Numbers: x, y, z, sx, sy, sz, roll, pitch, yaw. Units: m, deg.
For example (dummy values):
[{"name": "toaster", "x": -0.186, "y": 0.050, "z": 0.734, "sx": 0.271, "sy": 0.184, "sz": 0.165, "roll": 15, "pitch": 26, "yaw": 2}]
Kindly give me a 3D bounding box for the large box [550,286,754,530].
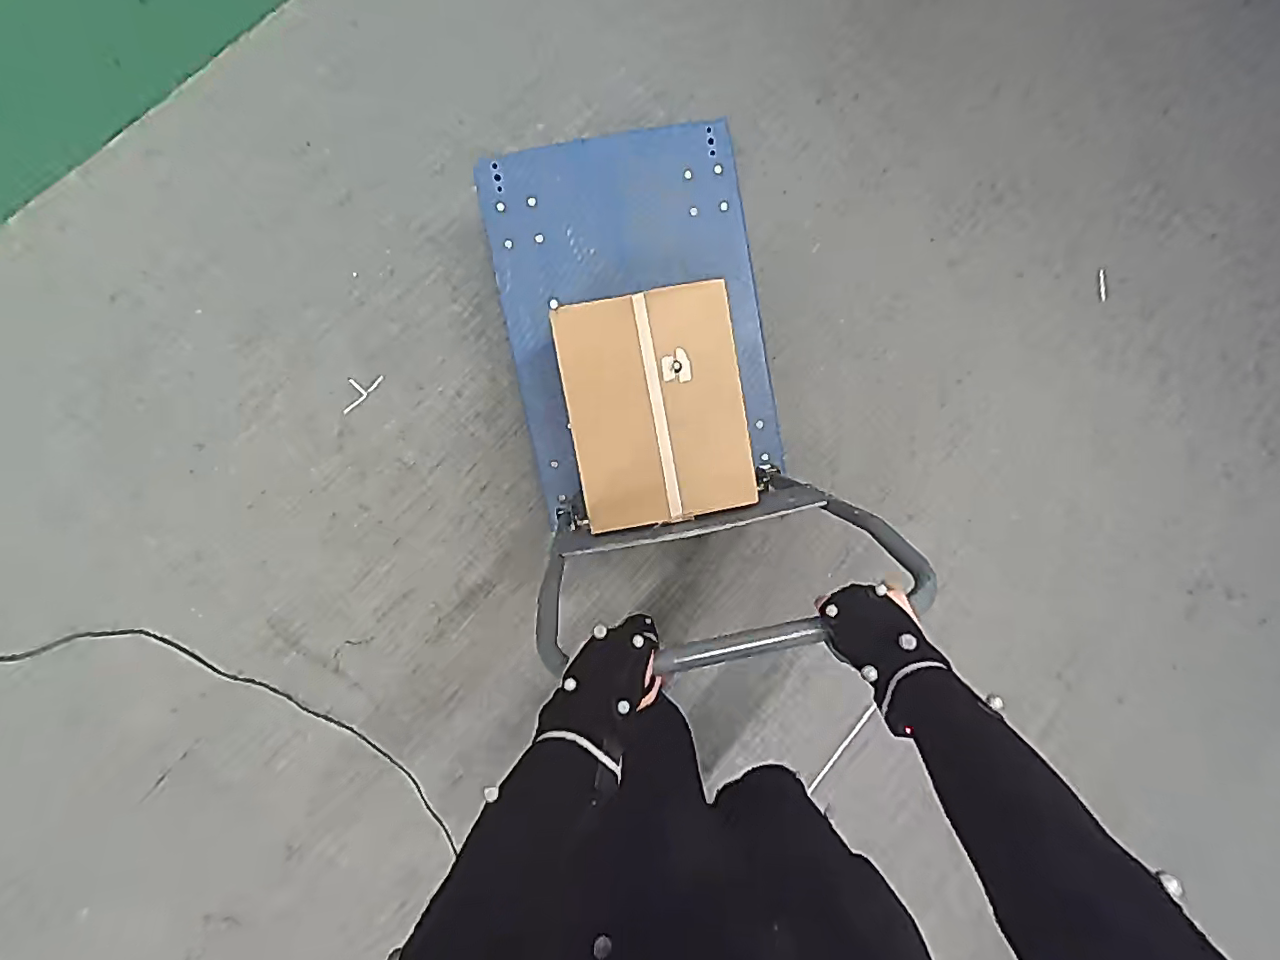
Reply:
[{"name": "large box", "x": 0.020, "y": -0.139, "z": 1.133, "sx": 0.320, "sy": 0.320, "sz": 0.408, "roll": -11, "pitch": 95, "yaw": -3}]
